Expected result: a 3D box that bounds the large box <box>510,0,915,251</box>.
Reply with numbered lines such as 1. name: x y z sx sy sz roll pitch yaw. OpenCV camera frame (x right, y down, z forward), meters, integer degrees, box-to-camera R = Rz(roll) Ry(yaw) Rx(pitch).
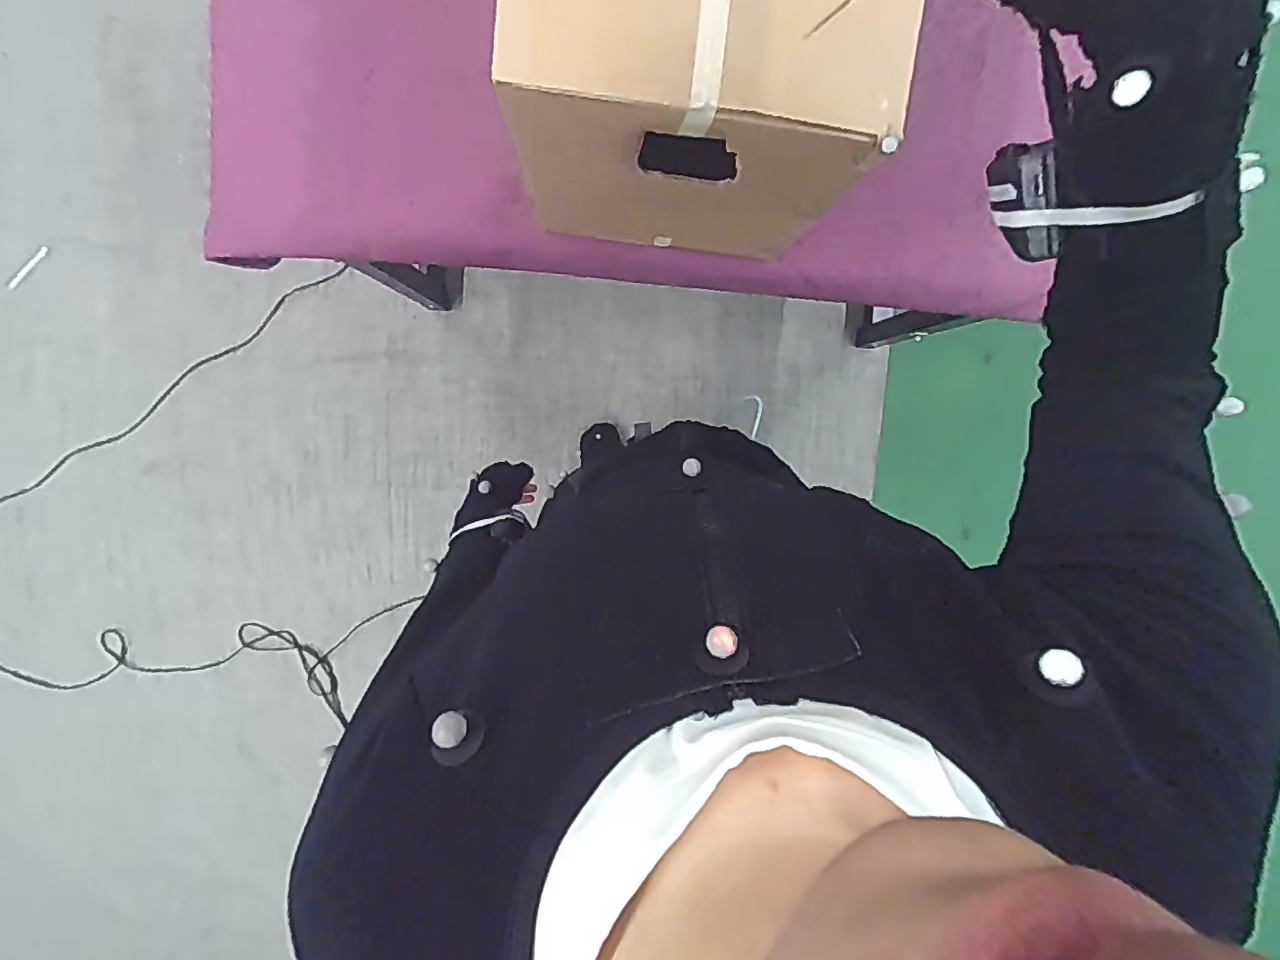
1. large box: 0.062 -0.498 0.546 0.320 0.320 0.408 6 97 -4
